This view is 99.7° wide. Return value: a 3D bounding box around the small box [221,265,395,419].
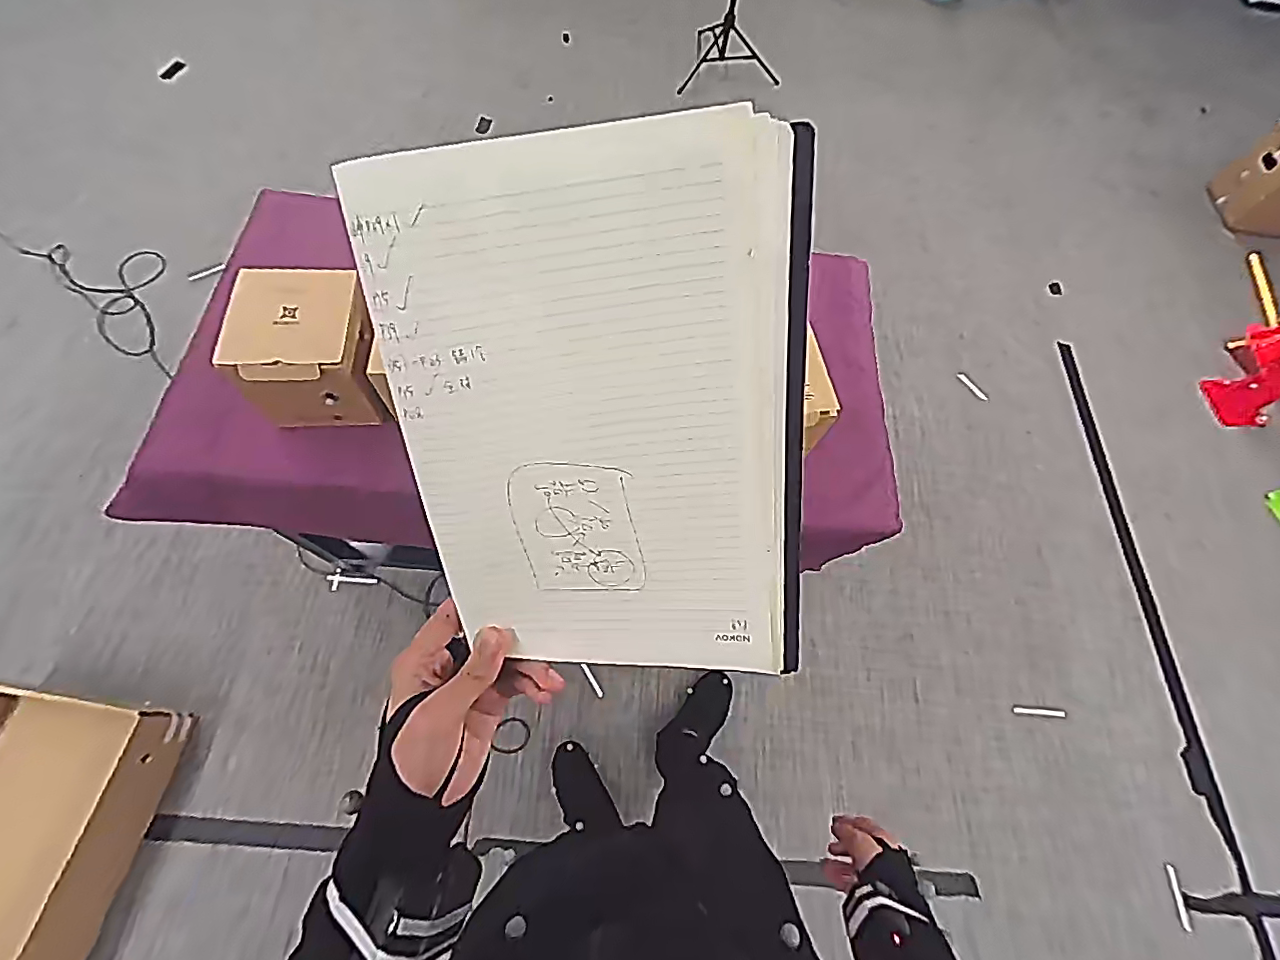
[{"bbox_3d":[-0.497,-0.205,0.841,0.168,0.176,0.179,-1,66,-7],"label":"small box"}]
